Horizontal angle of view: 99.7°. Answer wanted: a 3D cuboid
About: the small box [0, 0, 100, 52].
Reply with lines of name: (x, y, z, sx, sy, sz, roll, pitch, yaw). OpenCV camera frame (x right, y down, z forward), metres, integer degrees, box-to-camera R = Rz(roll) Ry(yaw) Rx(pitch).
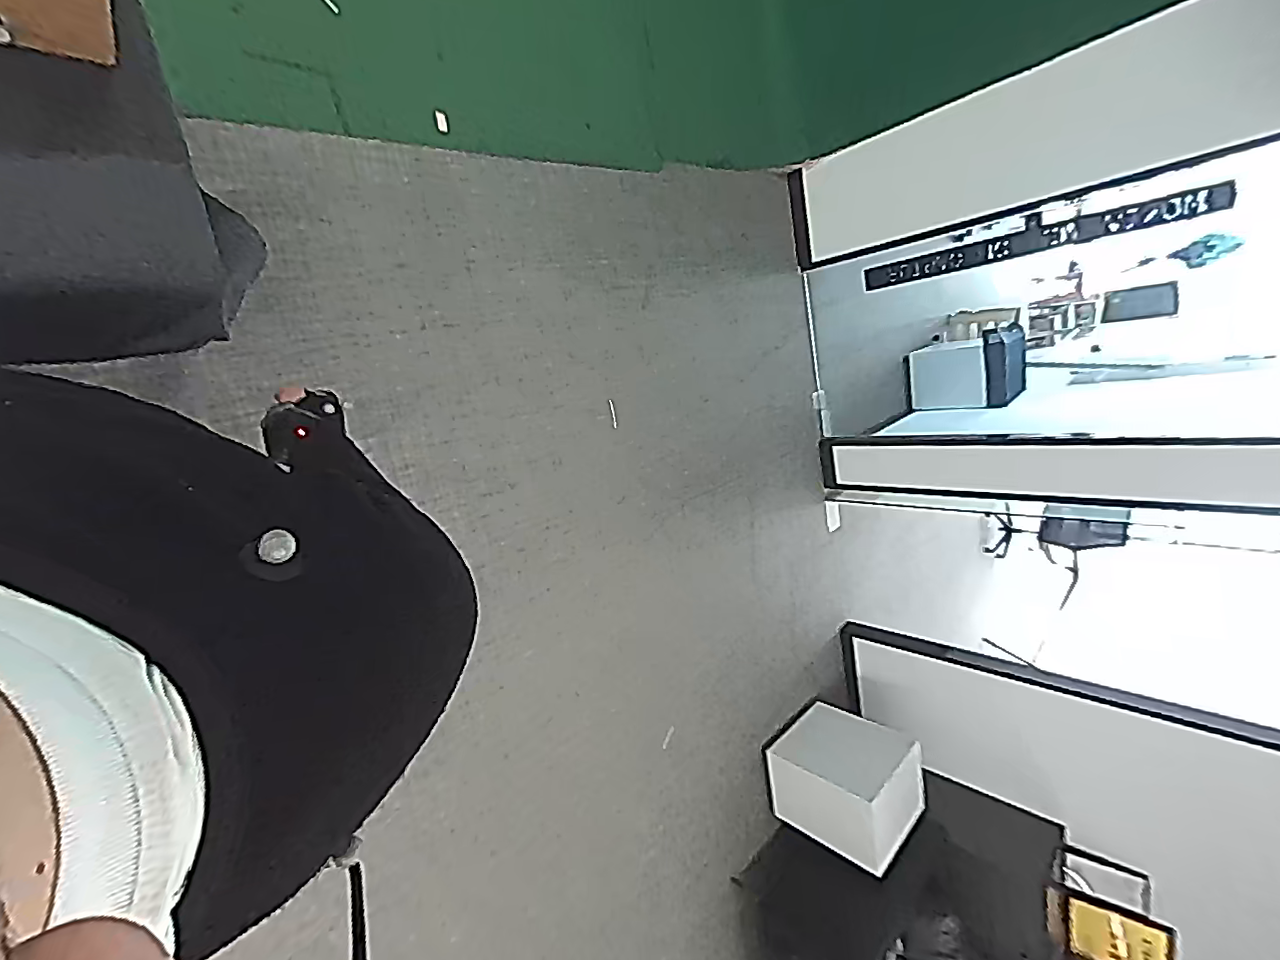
small box: (-0.617, -0.526, 0.479, 0.179, 0.176, 0.168, -17, 105, -41)
